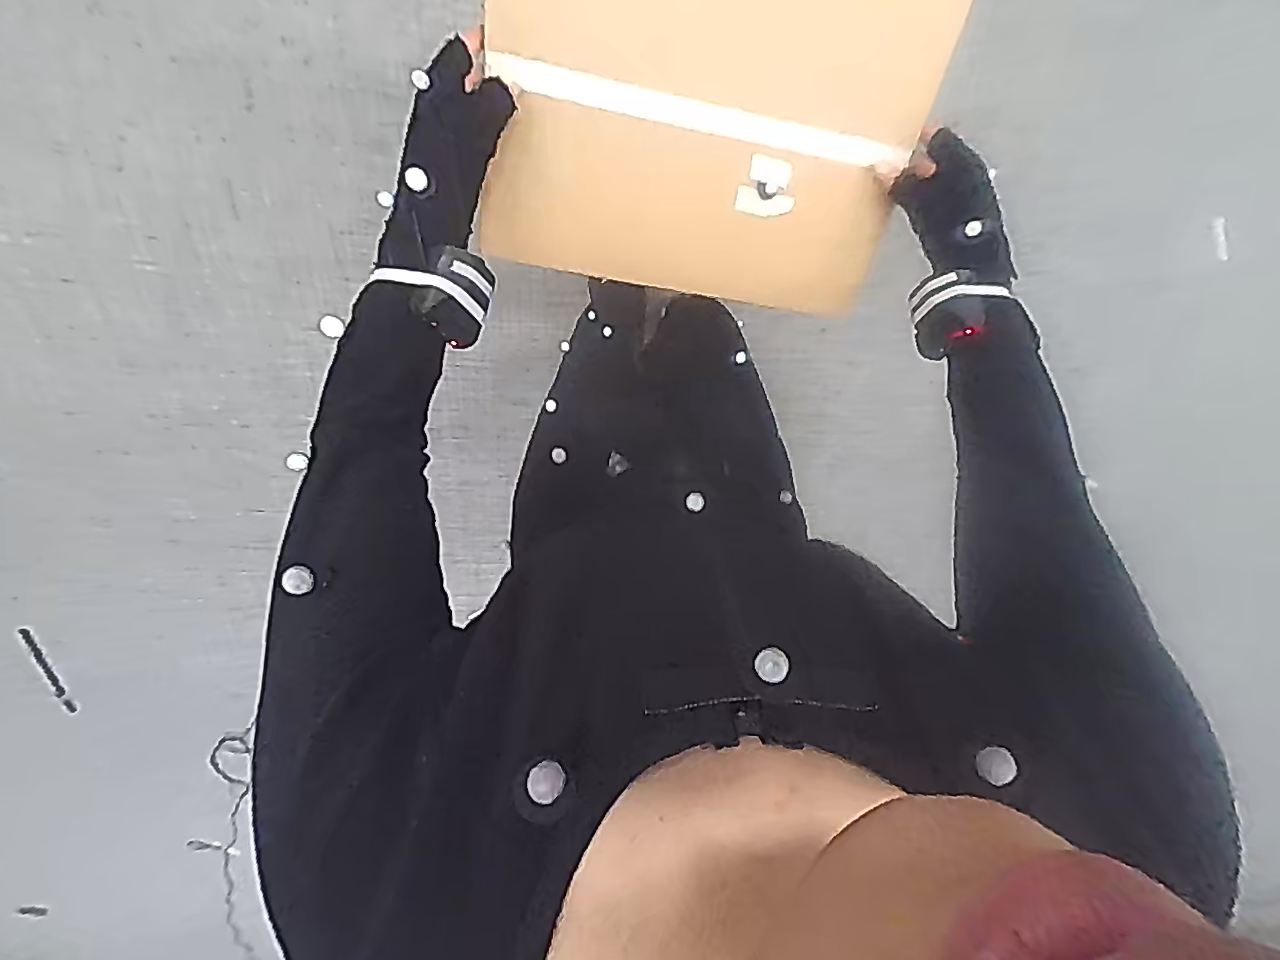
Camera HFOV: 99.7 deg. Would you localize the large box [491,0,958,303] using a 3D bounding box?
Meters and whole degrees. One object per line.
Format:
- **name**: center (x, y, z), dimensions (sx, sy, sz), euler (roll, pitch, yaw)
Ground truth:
- **large box**: center (0.049, -0.424, 0.626), dimensions (0.408, 0.320, 0.320), euler (5, 123, -11)
